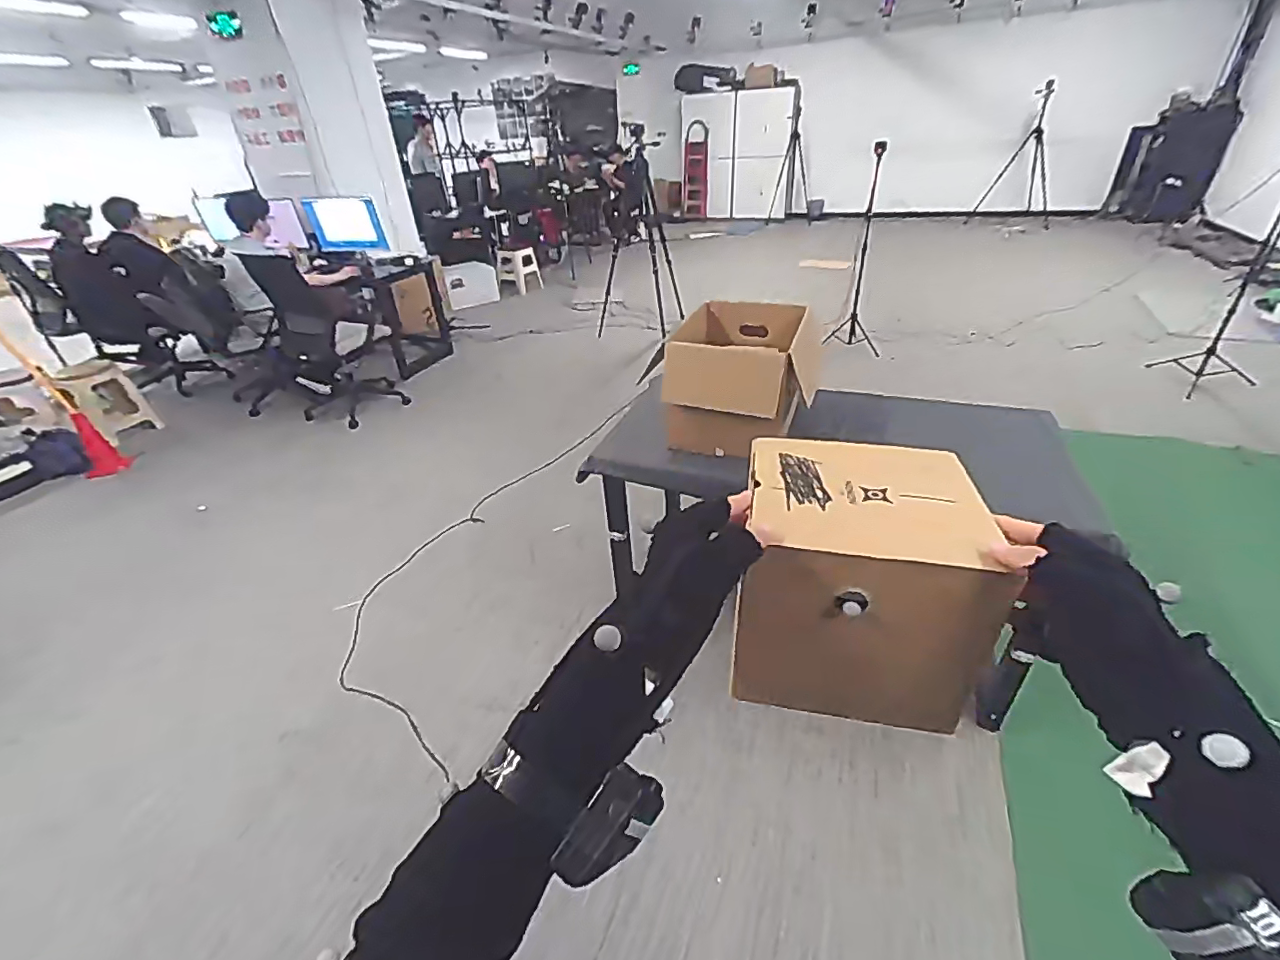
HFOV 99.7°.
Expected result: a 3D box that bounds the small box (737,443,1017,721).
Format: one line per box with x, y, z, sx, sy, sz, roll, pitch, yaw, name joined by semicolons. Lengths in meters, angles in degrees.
0.180;0.082;0.472;0.179;0.176;0.168;5;31;10;small box
